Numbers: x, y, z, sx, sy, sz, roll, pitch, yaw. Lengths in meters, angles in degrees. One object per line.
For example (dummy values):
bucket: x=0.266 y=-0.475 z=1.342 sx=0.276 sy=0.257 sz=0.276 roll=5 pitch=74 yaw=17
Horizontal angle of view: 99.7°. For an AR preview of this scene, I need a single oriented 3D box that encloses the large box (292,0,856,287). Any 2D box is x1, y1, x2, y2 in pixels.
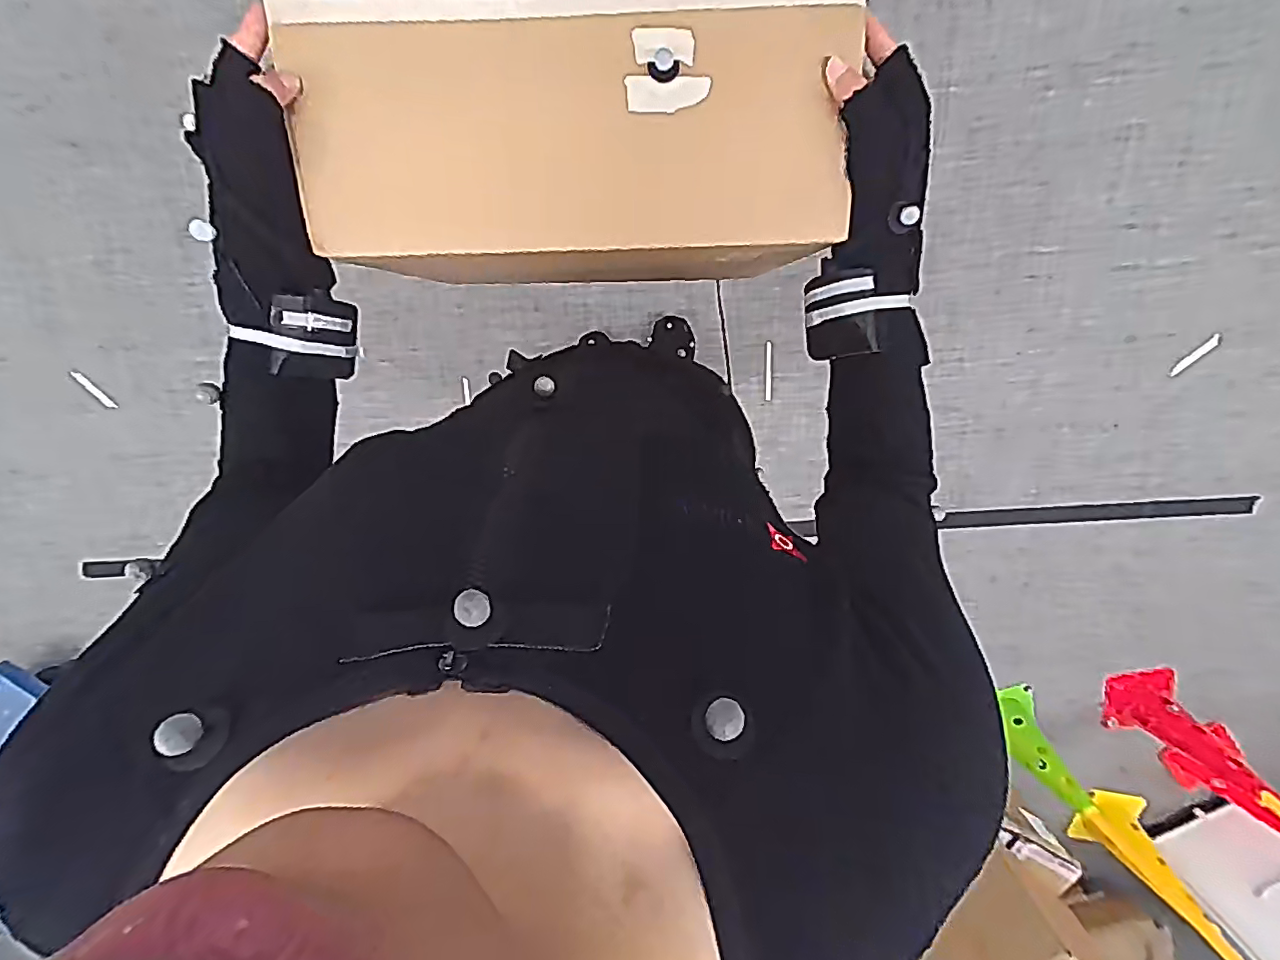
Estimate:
large box: x=-0.049 y=-0.371 z=0.522 sx=0.408 sy=0.320 sz=0.320 roll=-2 pitch=106 yaw=0
